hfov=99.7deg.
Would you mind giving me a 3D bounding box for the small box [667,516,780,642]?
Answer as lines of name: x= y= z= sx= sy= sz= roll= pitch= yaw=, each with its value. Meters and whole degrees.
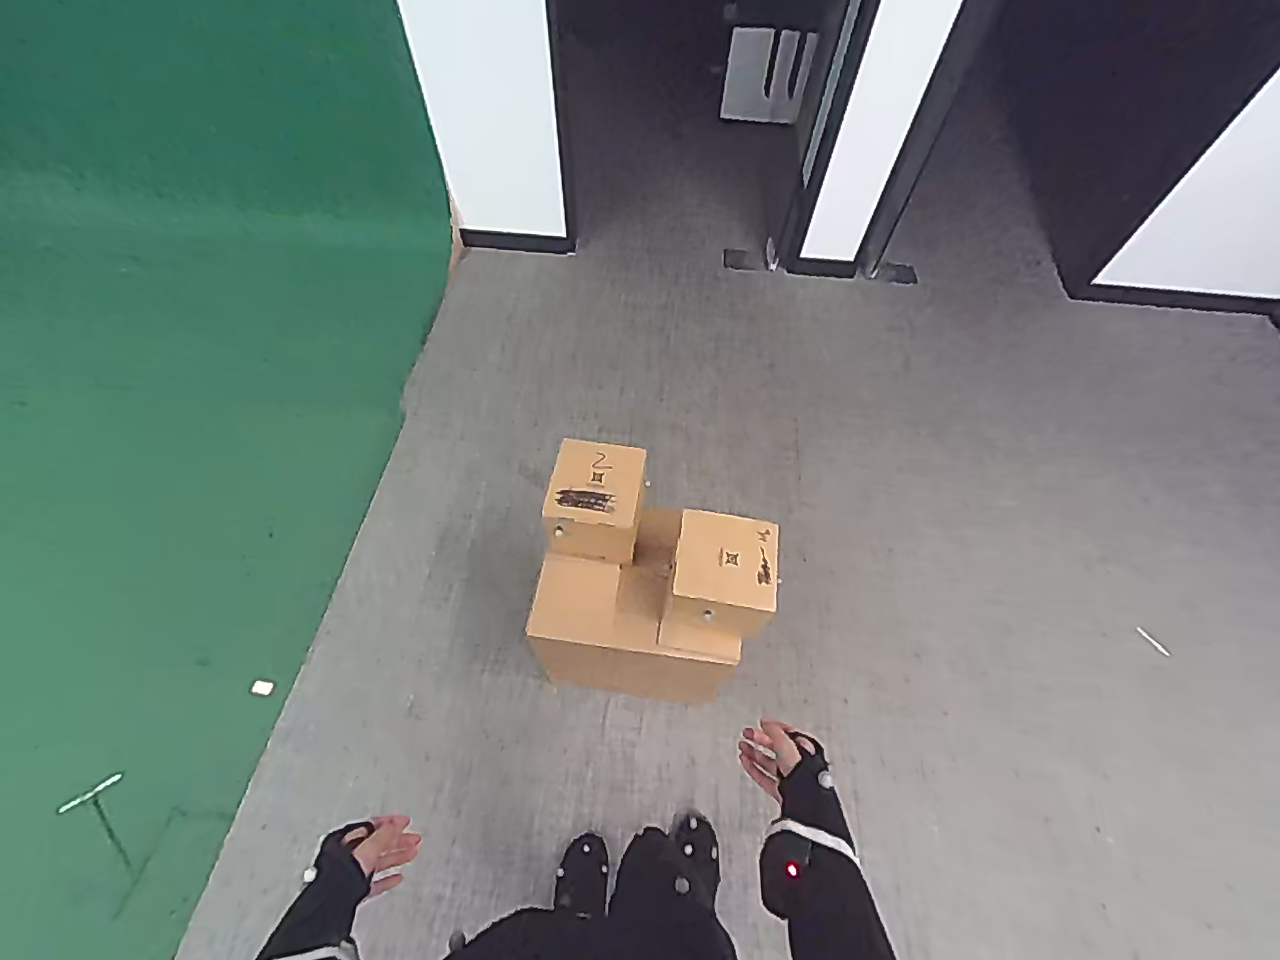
small box: x=0.148 y=0.187 z=0.990 sx=0.179 sy=0.176 sz=0.168 roll=9 pitch=59 yaw=4
